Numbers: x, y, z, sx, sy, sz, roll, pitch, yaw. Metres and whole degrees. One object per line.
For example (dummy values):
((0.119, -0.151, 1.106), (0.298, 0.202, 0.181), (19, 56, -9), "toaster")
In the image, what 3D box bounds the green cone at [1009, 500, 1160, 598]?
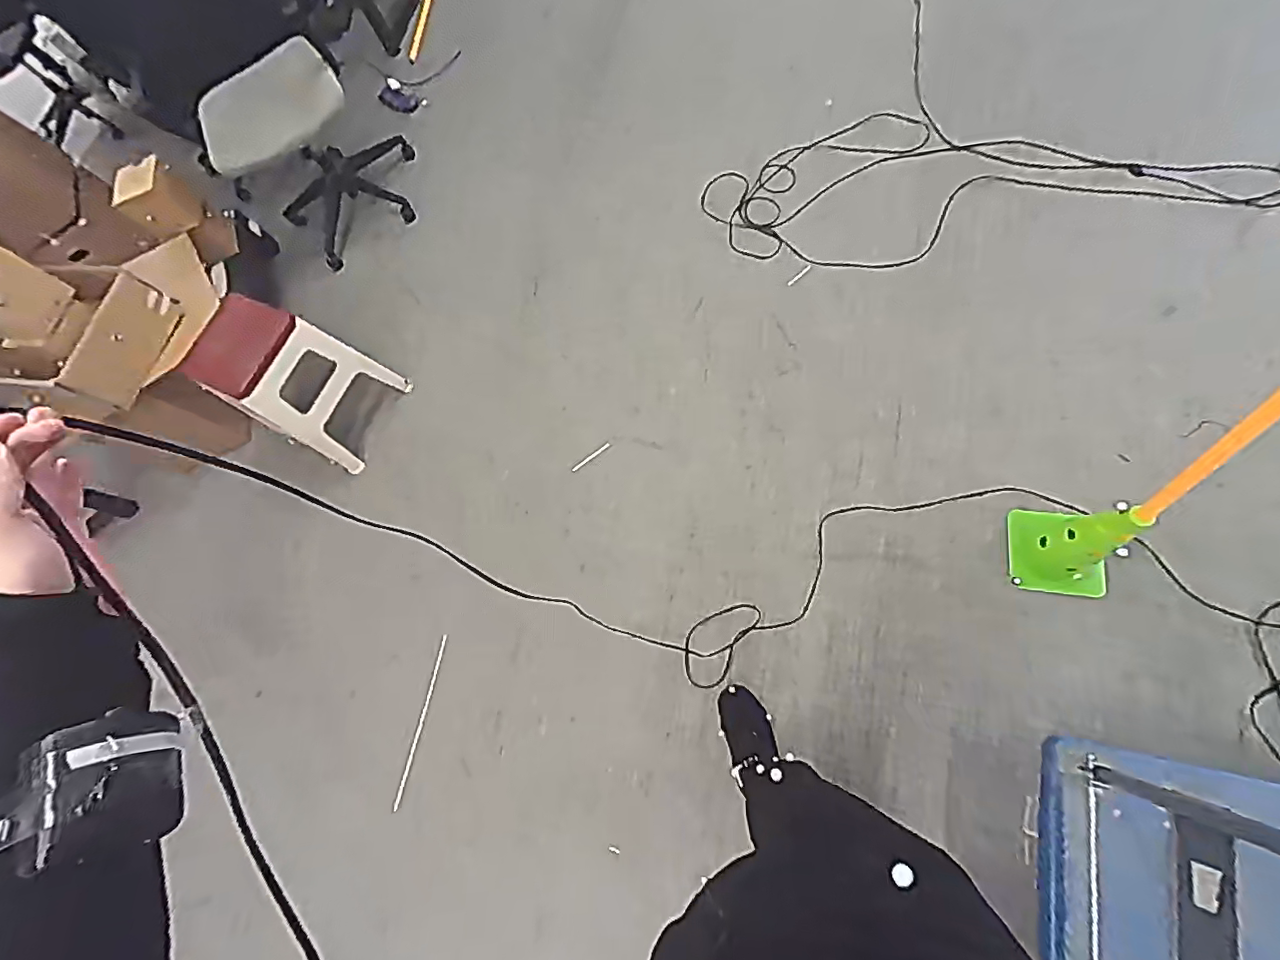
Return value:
((0.971, 0.119, 1.148), (0.200, 0.368, 0.202), (5, 72, 15), "green cone")
